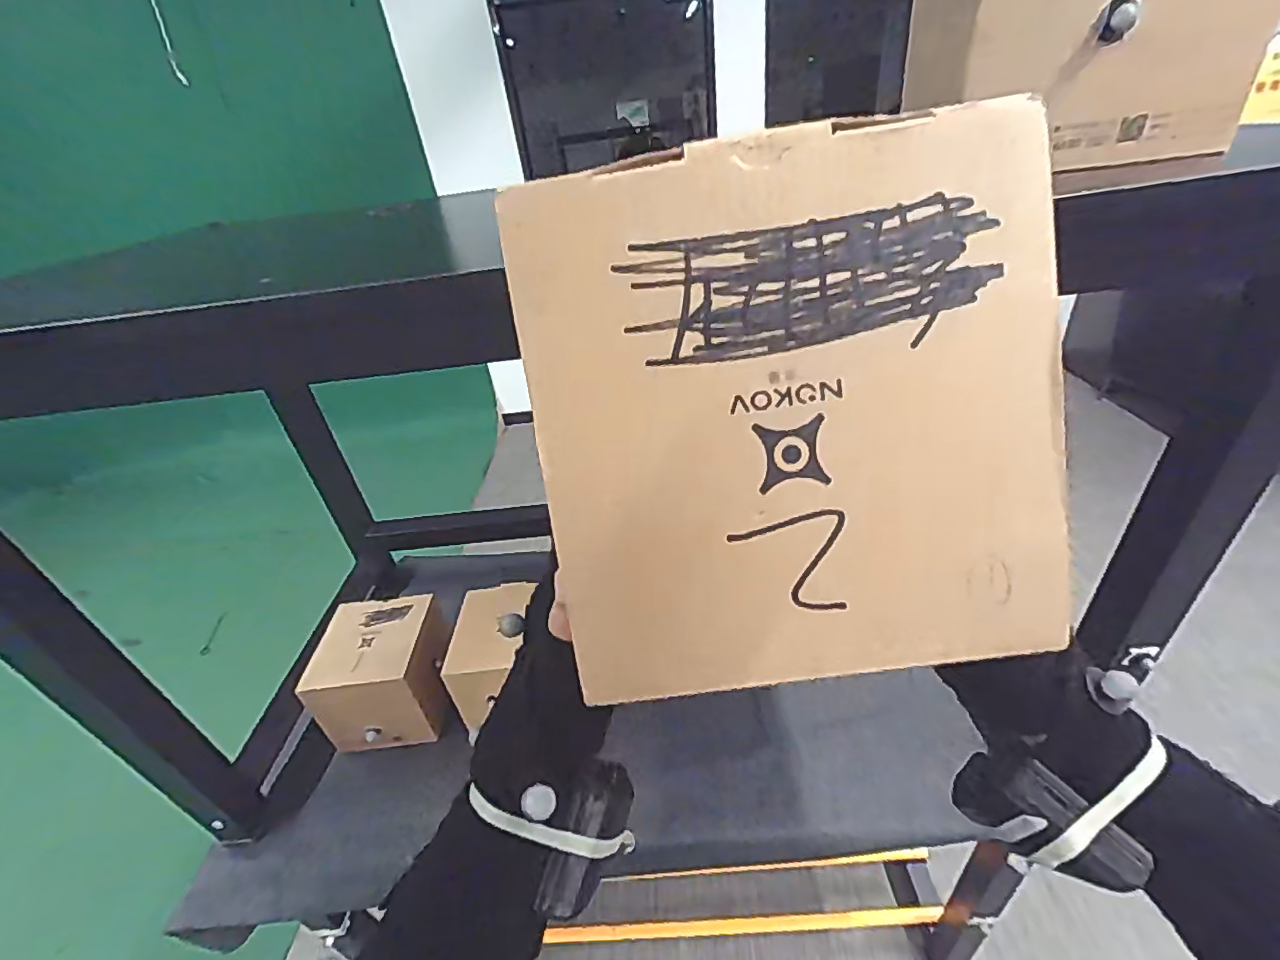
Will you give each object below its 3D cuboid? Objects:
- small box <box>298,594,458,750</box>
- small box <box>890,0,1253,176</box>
[{"bbox_3d":[-0.421,0.320,0.908,0.168,0.176,0.179,-8,33,1],"label":"small box"},{"bbox_3d":[0.289,-0.324,0.385,0.168,0.176,0.179,-1,34,12],"label":"small box"}]
